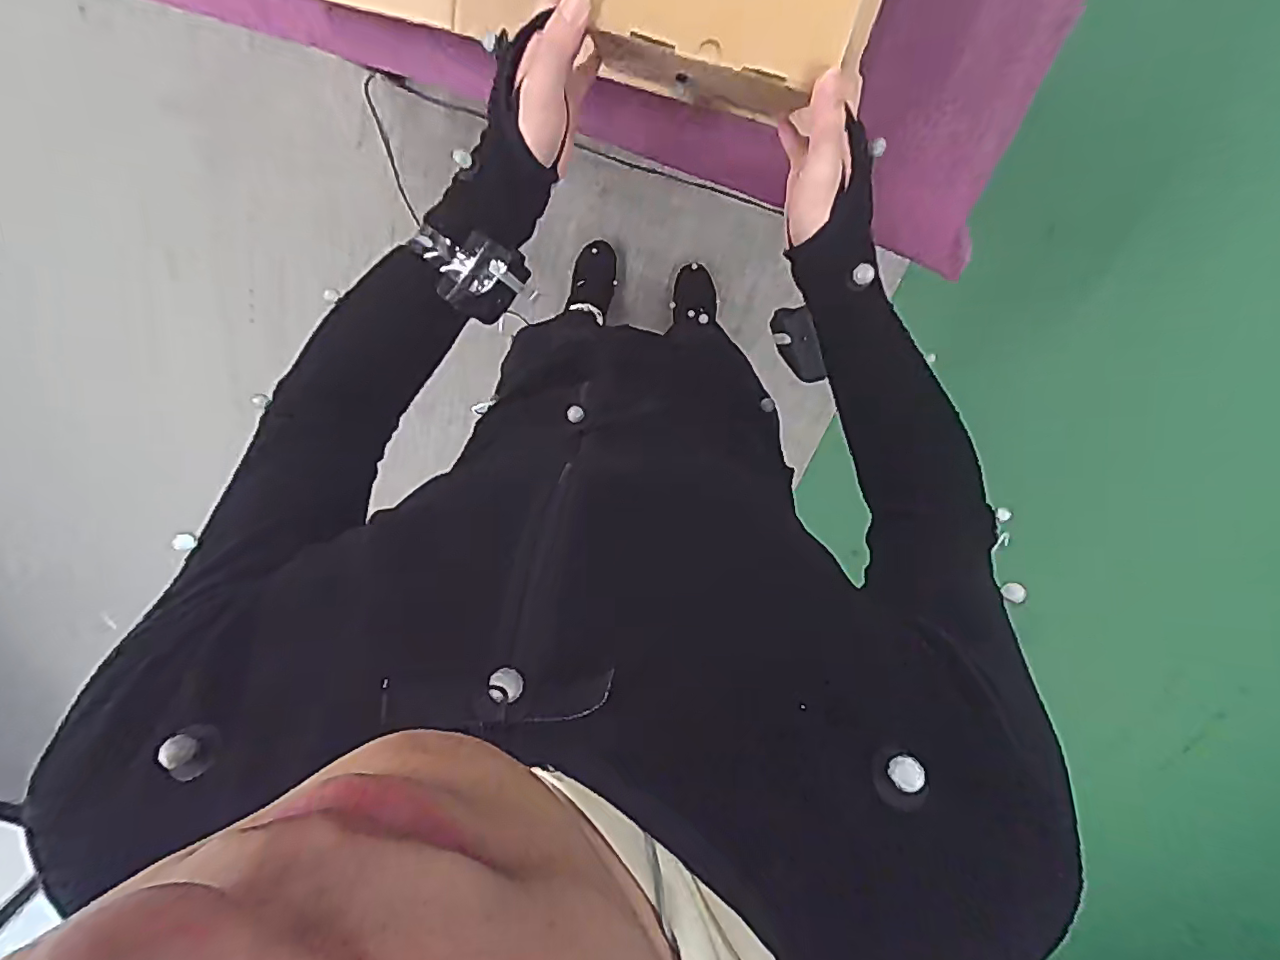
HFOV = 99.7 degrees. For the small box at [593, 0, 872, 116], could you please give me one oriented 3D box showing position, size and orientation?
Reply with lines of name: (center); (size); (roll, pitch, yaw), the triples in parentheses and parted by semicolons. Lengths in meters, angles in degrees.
small box: (0.070, -0.374, 0.368); (0.168, 0.176, 0.179); (12, 121, -5)
